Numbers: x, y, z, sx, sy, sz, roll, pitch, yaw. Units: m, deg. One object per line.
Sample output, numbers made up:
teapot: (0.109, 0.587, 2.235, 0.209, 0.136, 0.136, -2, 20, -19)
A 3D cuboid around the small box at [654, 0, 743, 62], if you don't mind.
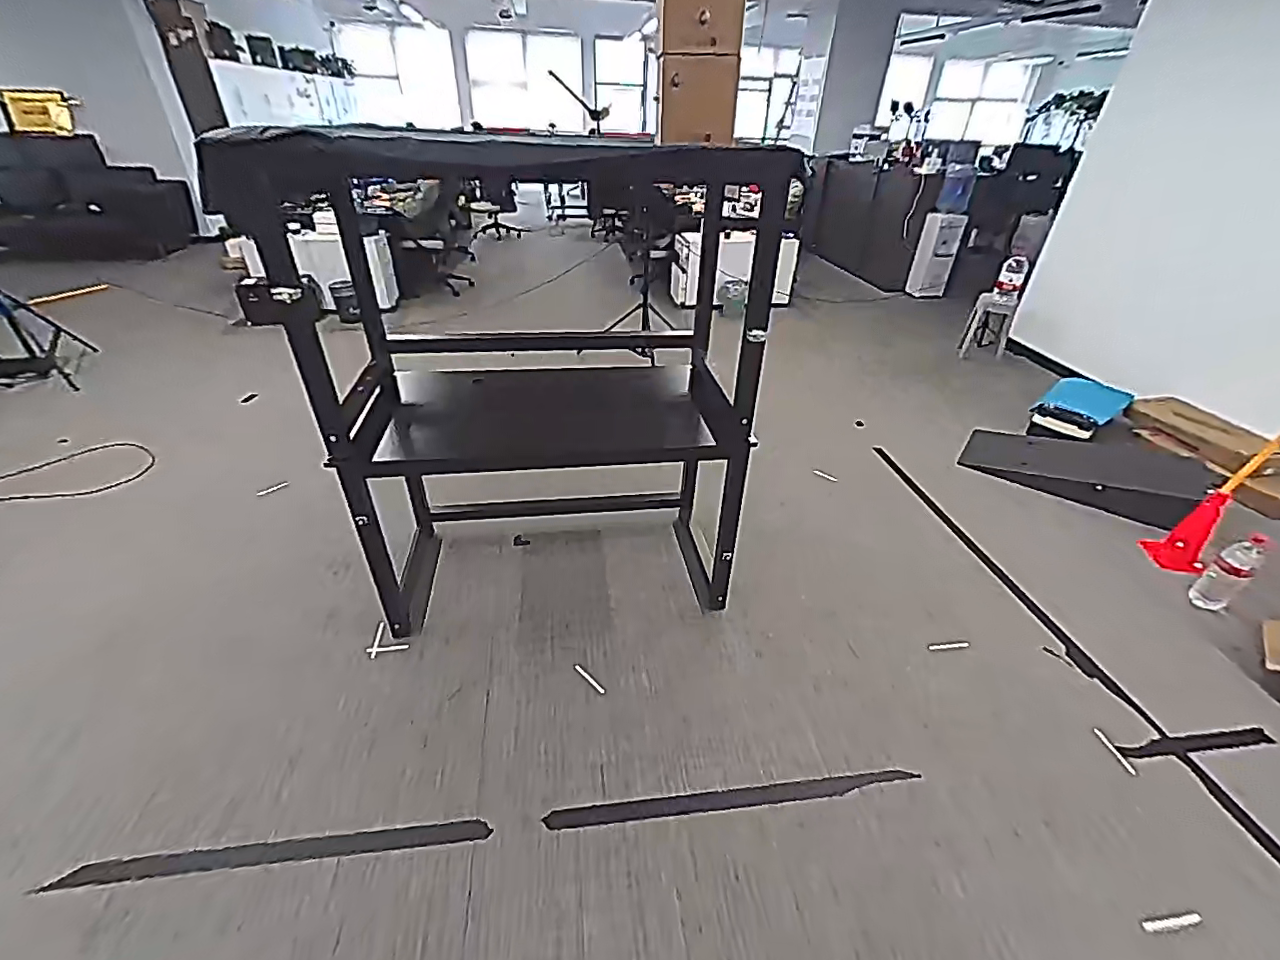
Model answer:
small box: (0.117, -0.993, 1.140, 0.168, 0.176, 0.179, -2, 34, -3)
